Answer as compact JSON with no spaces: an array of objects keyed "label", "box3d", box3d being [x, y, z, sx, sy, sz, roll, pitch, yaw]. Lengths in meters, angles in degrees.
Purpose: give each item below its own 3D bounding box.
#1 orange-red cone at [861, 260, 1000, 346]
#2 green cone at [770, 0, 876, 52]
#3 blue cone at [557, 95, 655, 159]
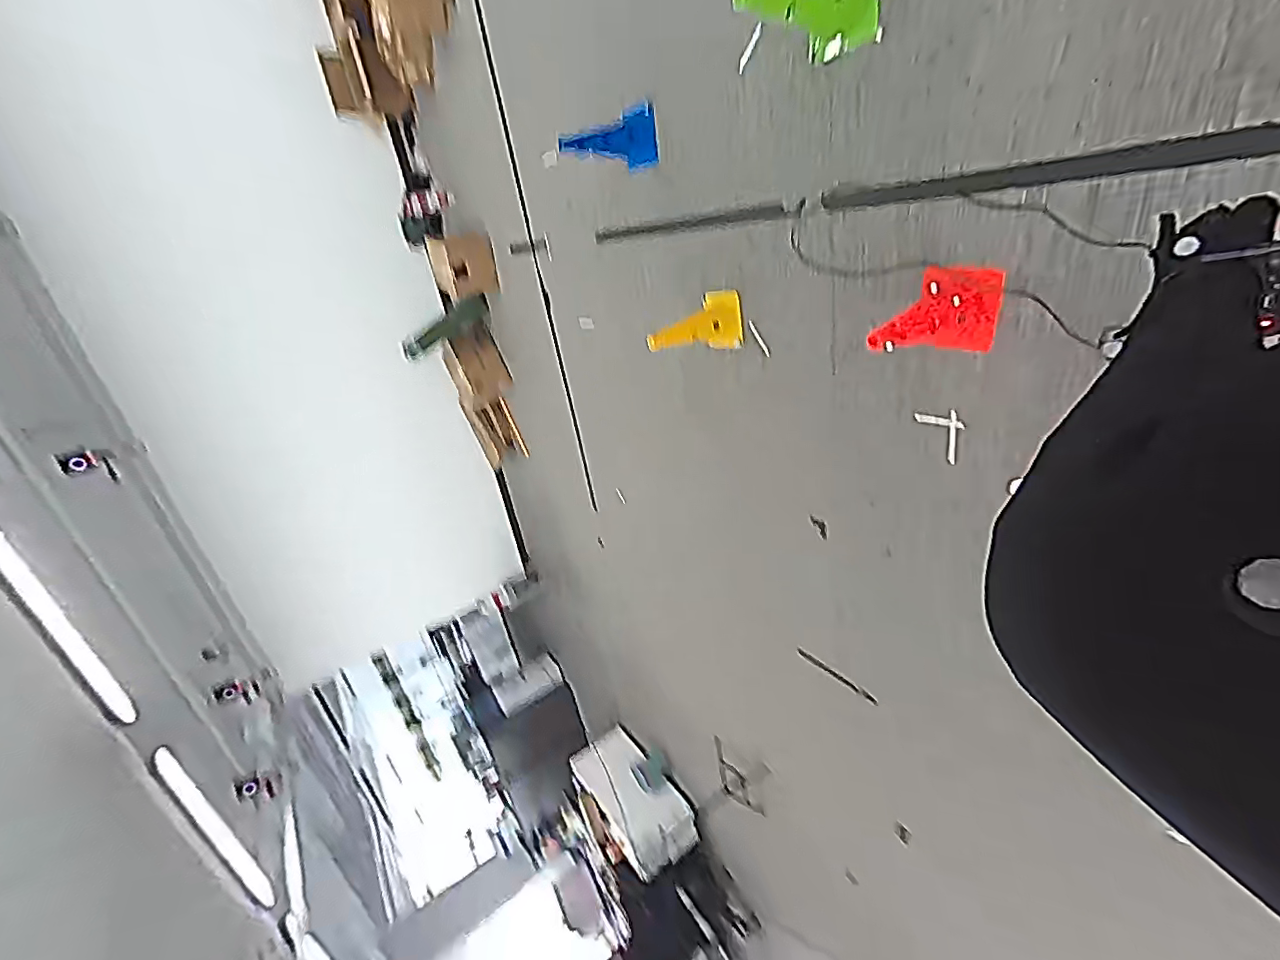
[{"label":"orange-red cone","box3d":[0.664,-0.388,1.305,0.198,0.360,0.199,32,139,49]},{"label":"green cone","box3d":[0.355,-1.139,1.246,0.200,0.368,0.202,26,132,51]},{"label":"blue cone","box3d":[-0.135,-1.297,2.007,0.193,0.380,0.192,30,135,48]}]
